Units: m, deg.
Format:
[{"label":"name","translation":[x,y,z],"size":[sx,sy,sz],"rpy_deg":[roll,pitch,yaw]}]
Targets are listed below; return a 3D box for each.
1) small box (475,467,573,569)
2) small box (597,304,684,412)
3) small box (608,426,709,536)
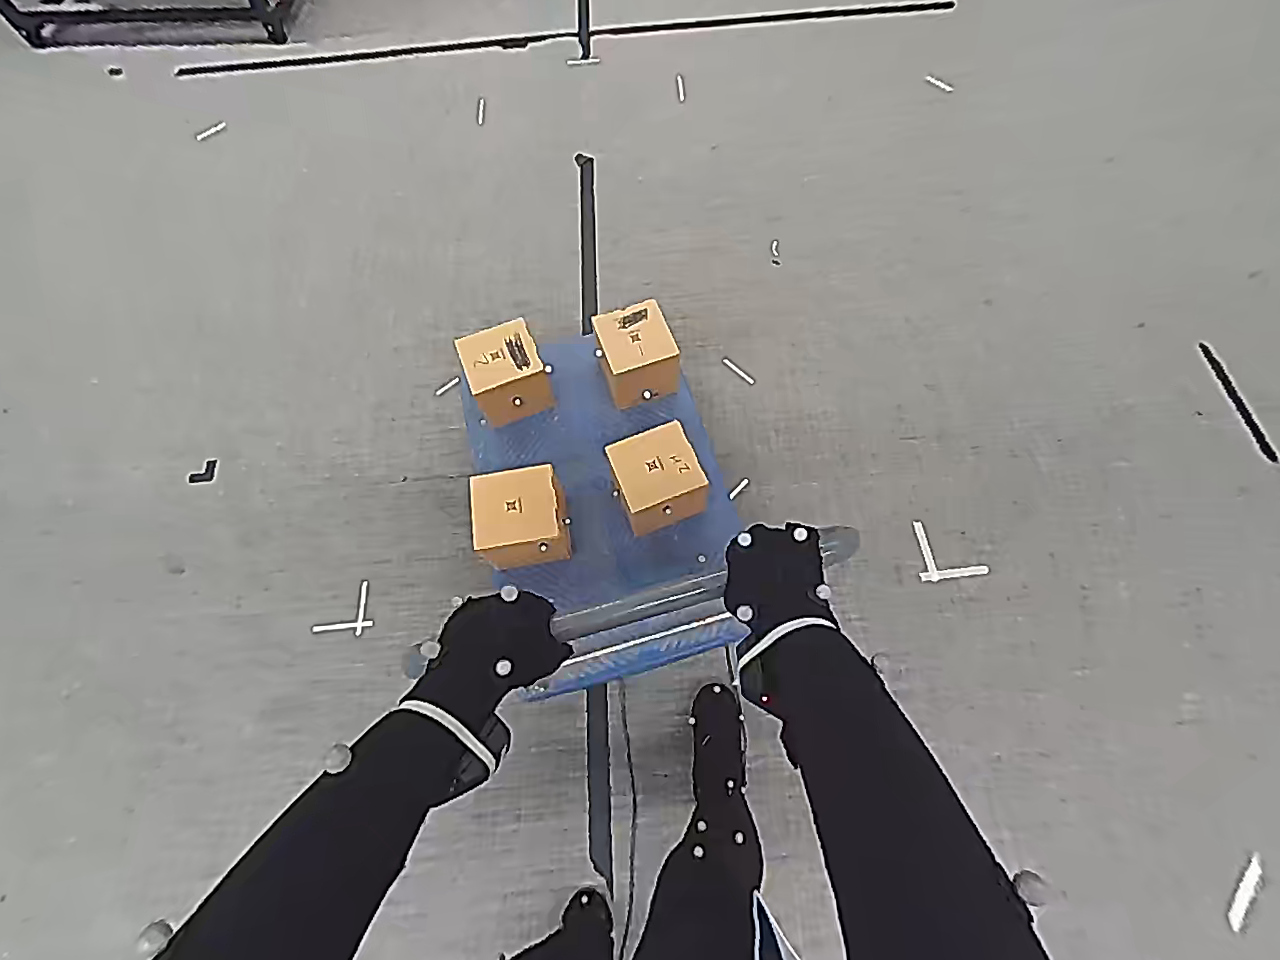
[{"label":"small box","translation":[-0.253,0.090,1.194],"size":[0.179,0.176,0.168],"rpy_deg":[-9,67,-3]},{"label":"small box","translation":[0.000,-0.300,1.349],"size":[0.168,0.176,0.179],"rpy_deg":[-18,69,-5]},{"label":"small box","translation":[0.042,0.009,1.216],"size":[0.179,0.176,0.168],"rpy_deg":[-20,68,-6]}]
